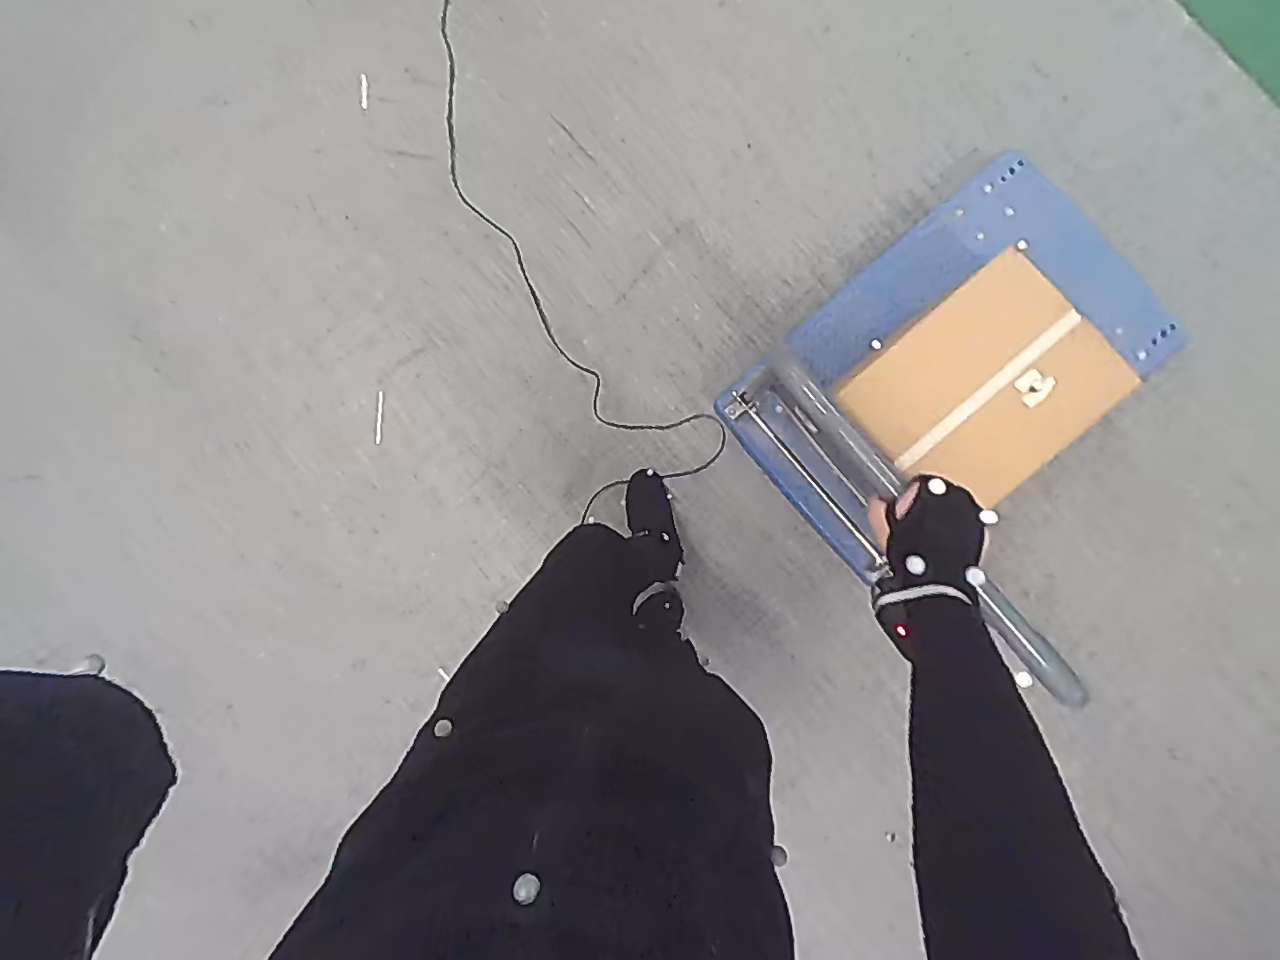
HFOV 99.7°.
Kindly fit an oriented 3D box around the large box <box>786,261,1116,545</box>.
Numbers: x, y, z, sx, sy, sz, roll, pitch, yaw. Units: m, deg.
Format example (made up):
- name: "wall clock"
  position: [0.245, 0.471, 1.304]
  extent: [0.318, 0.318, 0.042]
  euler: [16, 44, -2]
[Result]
- name: "large box"
  position: [0.561, -0.127, 1.067]
  extent: [0.408, 0.320, 0.320]
  euler: [-41, 88, 2]
